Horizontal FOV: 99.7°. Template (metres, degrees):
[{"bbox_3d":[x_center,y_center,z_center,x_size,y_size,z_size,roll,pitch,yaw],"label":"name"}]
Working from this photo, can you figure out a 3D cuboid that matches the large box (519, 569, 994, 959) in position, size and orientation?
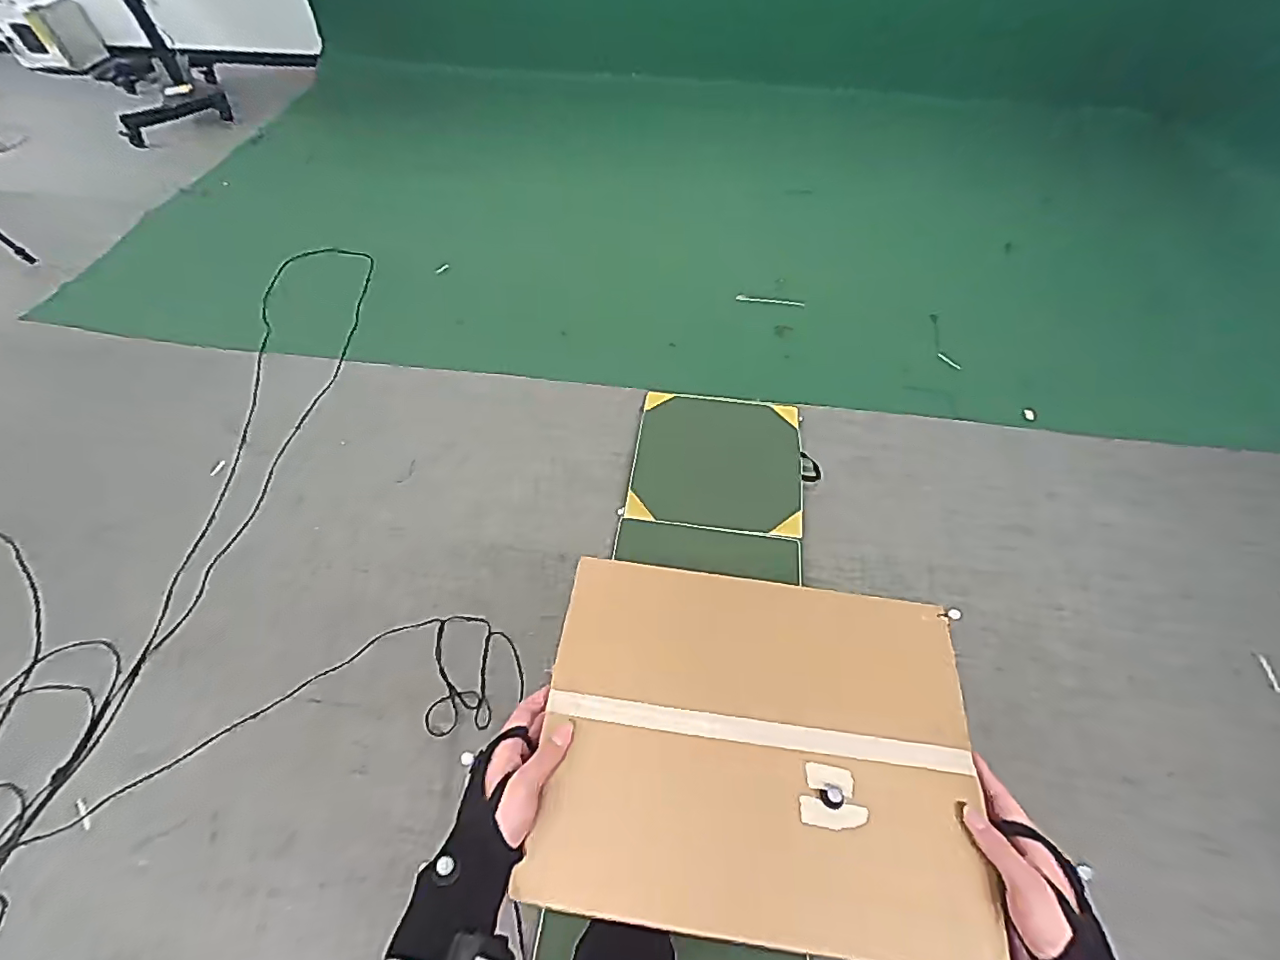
[{"bbox_3d":[0.104,0.331,0.651,0.408,0.320,0.320,7,57,3],"label":"large box"}]
